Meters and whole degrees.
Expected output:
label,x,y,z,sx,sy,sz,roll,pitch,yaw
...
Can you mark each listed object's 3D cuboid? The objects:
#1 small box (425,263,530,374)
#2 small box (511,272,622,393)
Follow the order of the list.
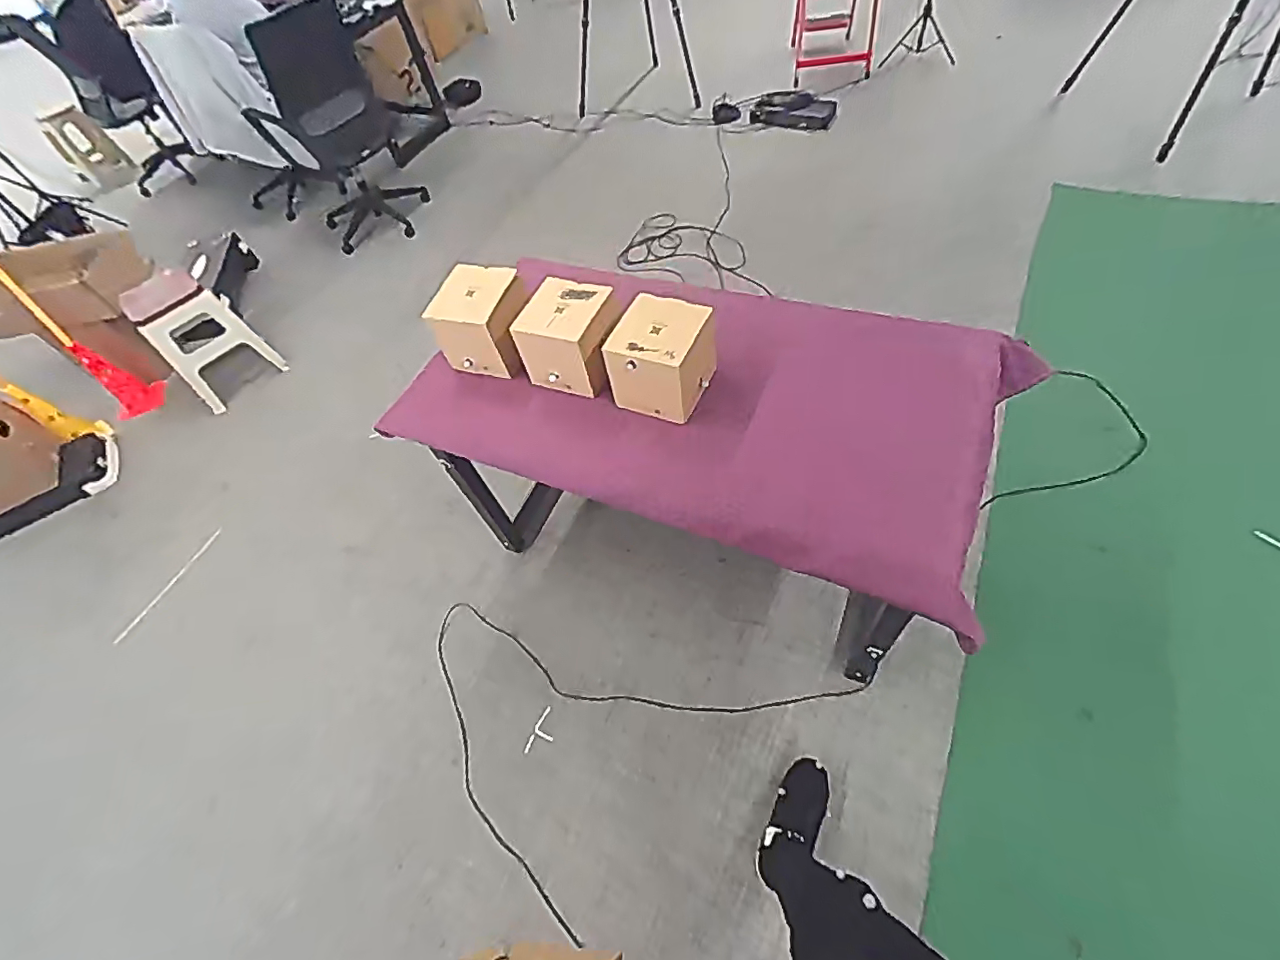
label,x,y,z,sx,sy,sz,roll,pitch,yaw
small box,-0.358,-0.377,1.263,0.168,0.176,0.179,12,60,18
small box,-0.150,-0.323,1.188,0.168,0.176,0.179,16,62,20
